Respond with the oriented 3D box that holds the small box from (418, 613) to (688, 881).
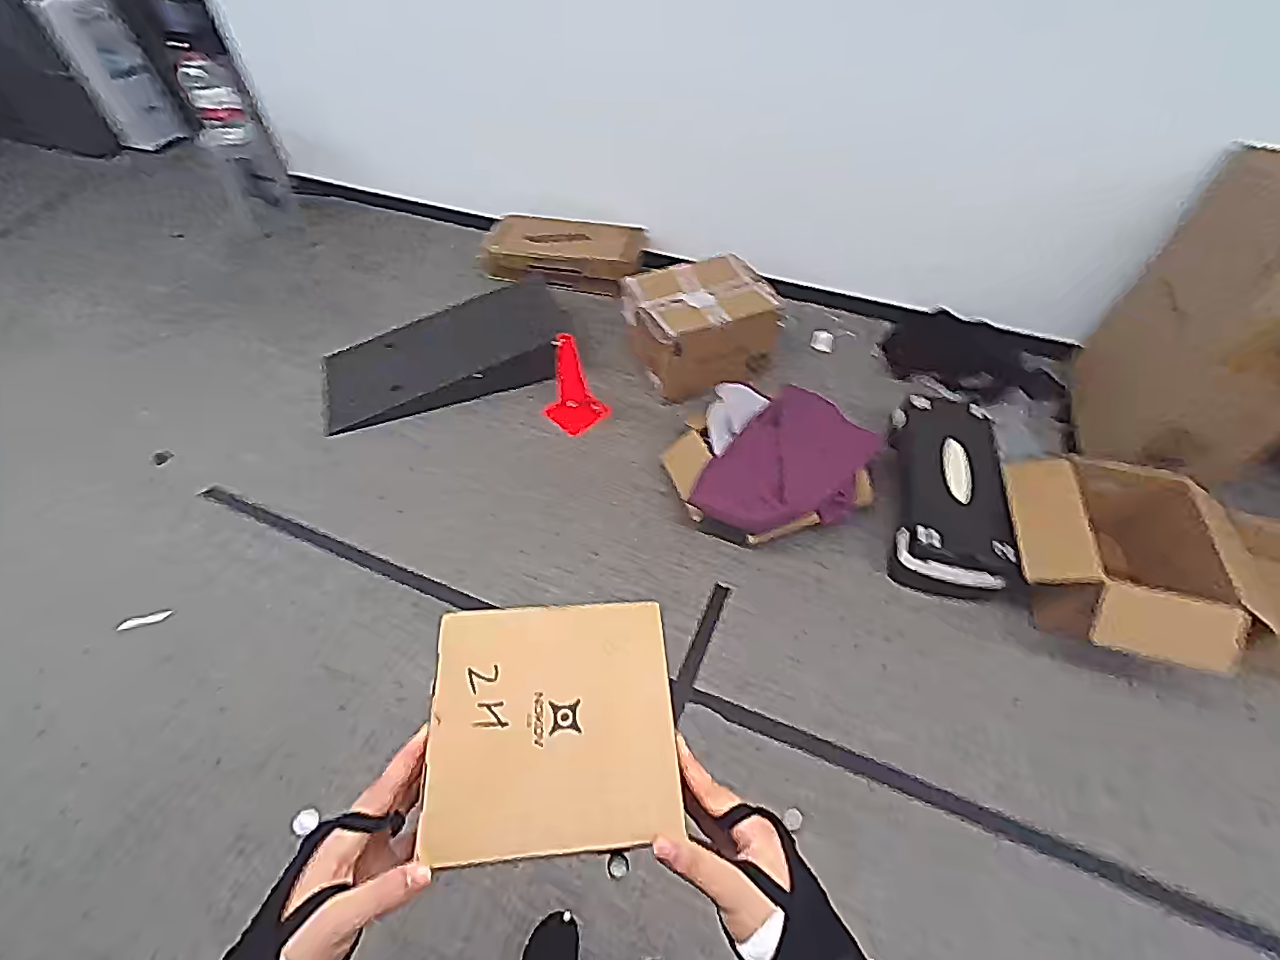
[{"bbox_3d":[-0.068,0.224,0.458,0.179,0.176,0.168,-3,56,-7],"label":"small box"}]
